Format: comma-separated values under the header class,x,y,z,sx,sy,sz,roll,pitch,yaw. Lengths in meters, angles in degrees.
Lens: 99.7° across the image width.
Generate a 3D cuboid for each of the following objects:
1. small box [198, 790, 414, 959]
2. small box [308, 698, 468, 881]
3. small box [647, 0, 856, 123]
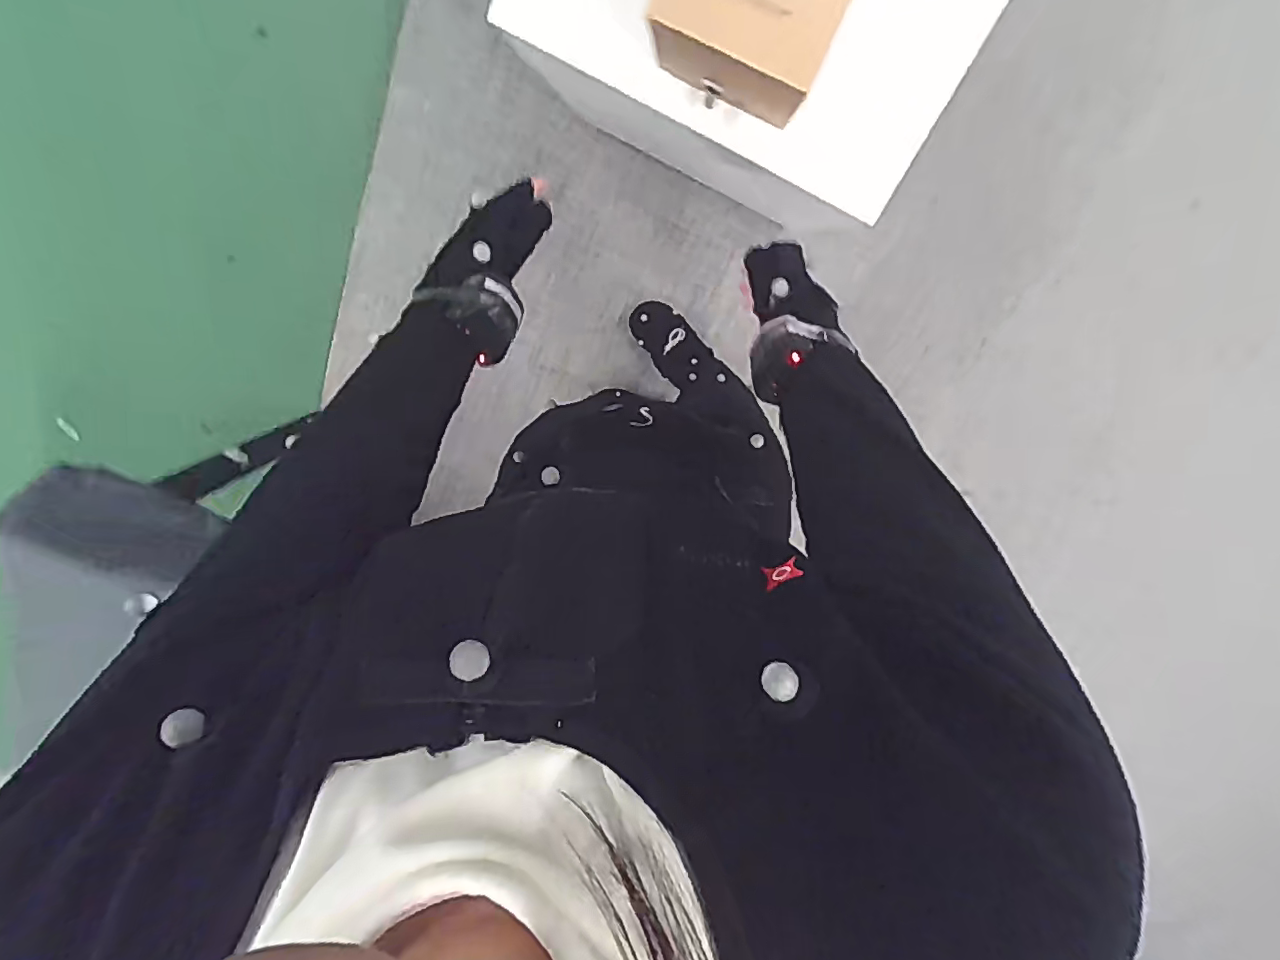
class,x,y,z,sx,sy,sz,roll,pitch,yaw
small box,-0.421,0.548,0.699,0.168,0.176,0.179,28,117,-5
small box,-0.397,0.478,0.846,0.179,0.176,0.168,28,115,-5
small box,0.120,-0.478,0.512,0.168,0.176,0.179,24,115,-3
